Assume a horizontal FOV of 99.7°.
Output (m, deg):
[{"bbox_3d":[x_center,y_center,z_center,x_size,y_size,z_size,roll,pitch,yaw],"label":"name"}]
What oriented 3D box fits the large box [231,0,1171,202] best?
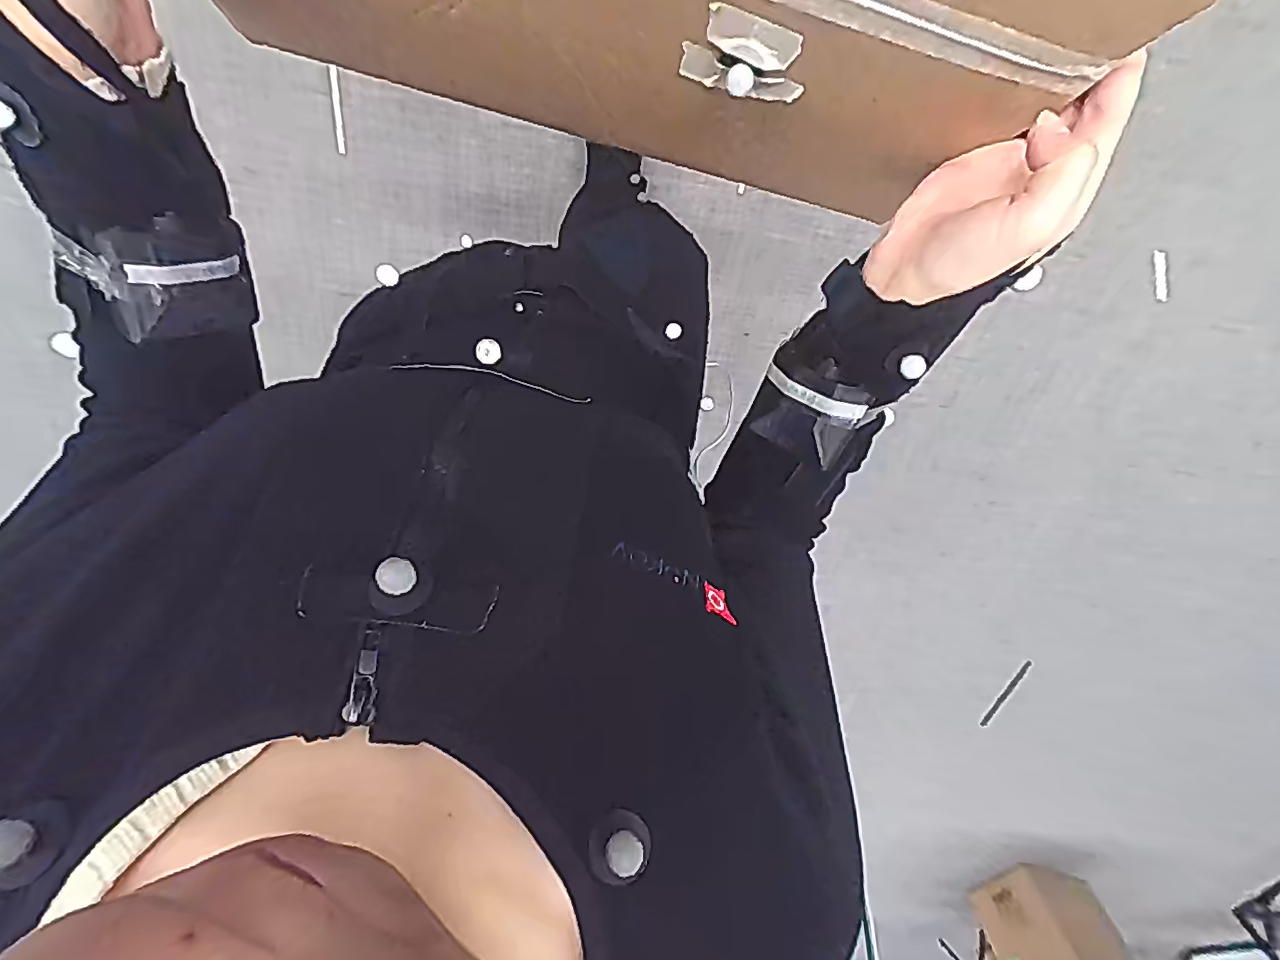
[{"bbox_3d":[0.018,-0.358,0.183,0.408,0.320,0.320,10,95,-8],"label":"large box"}]
